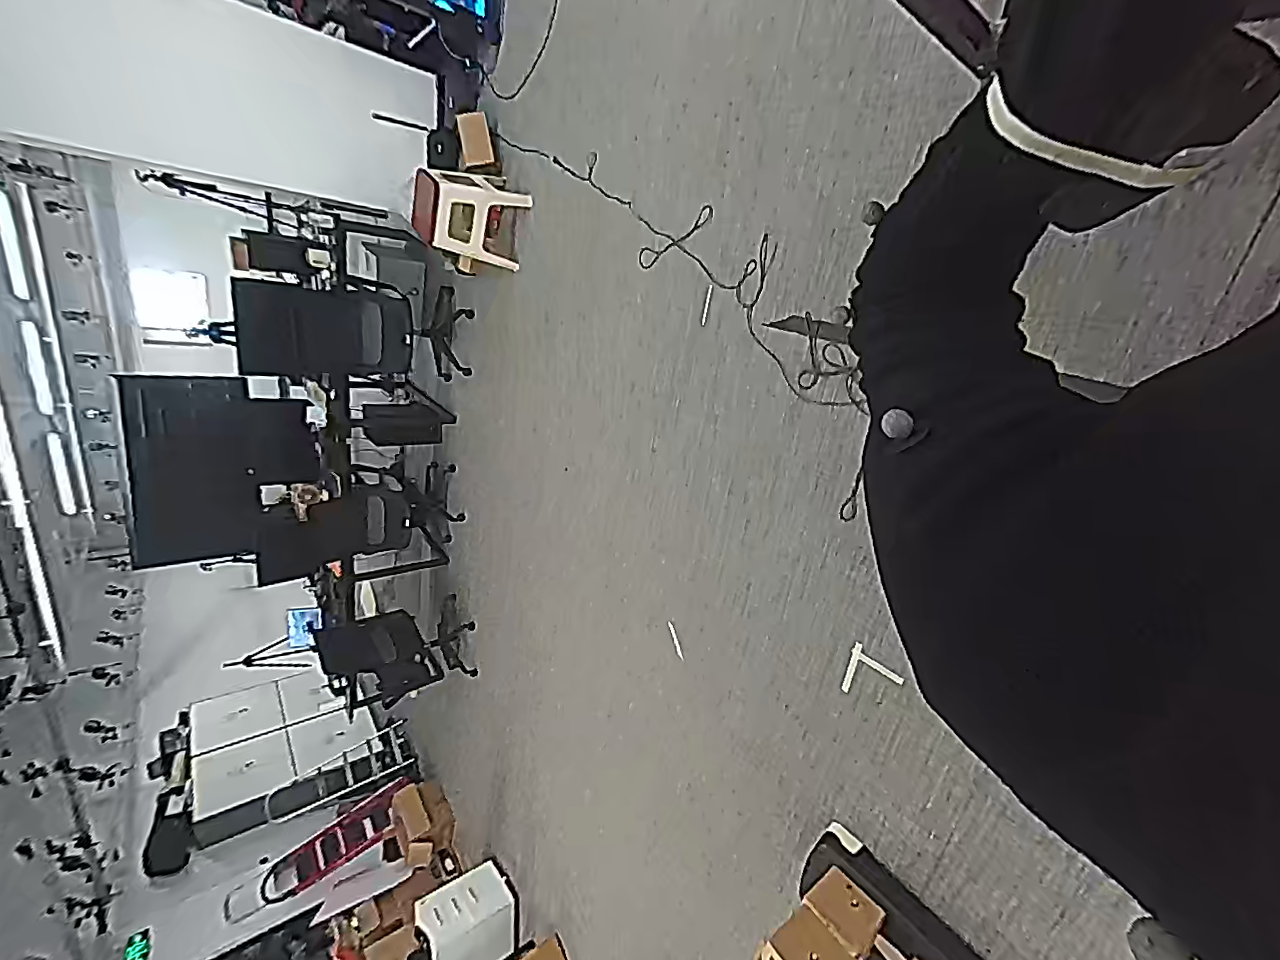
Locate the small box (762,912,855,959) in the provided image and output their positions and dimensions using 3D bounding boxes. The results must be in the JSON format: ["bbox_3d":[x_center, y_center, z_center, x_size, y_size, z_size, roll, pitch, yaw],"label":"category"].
[{"bbox_3d":[0.443,1.297,1.429,0.179,0.176,0.168,34,121,42],"label":"small box"}]

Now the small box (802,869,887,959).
[{"bbox_3d":[0.569,1.265,1.530,0.168,0.176,0.179,28,117,45],"label":"small box"}]
